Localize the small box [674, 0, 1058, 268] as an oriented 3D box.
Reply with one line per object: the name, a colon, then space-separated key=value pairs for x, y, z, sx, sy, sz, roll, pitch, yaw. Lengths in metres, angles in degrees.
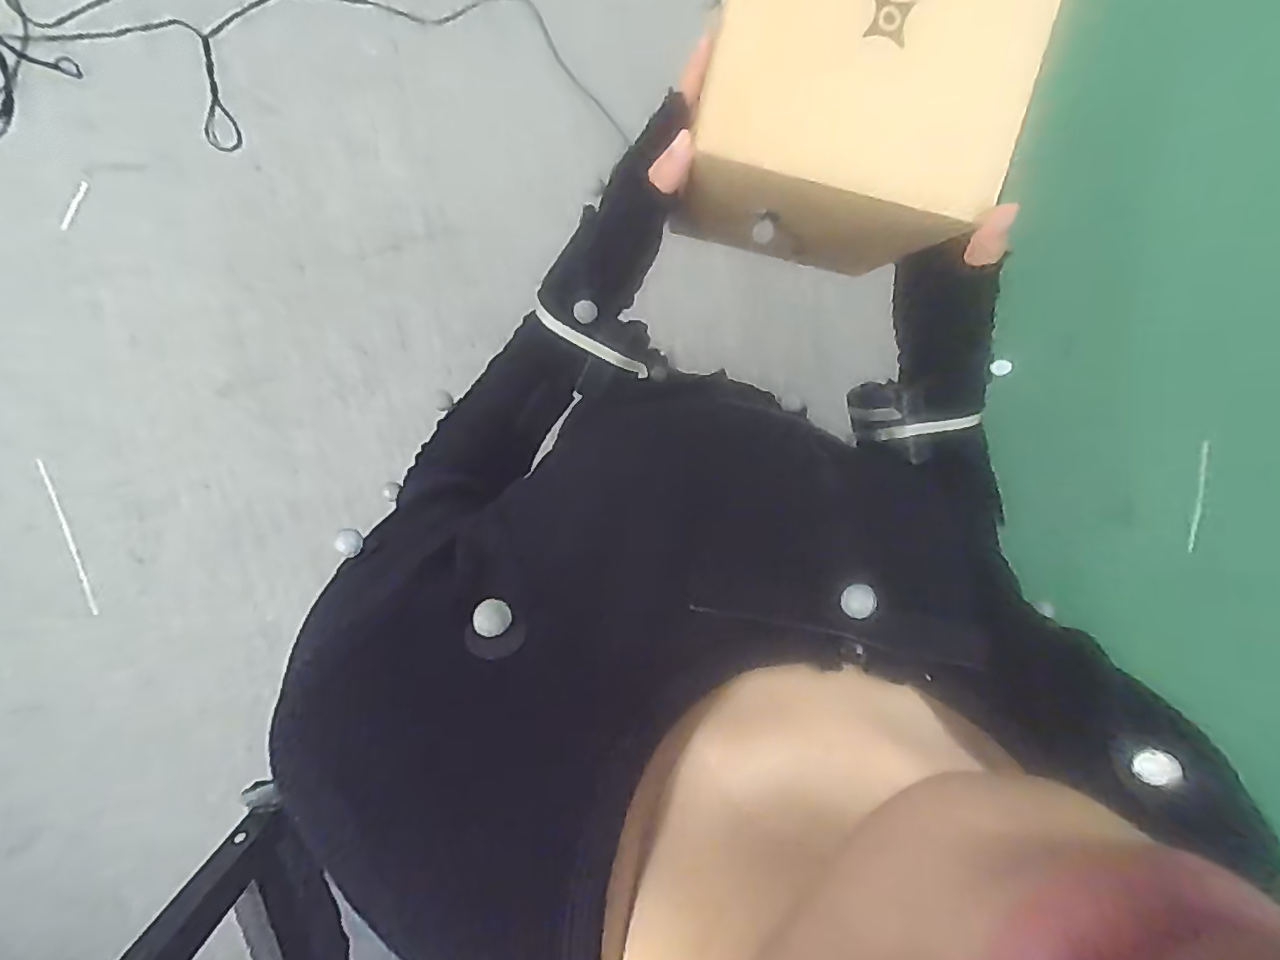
small box: x=0.121 y=-0.252 z=0.345 sx=0.168 sy=0.176 sz=0.179 roll=12 pitch=99 yaw=-4
